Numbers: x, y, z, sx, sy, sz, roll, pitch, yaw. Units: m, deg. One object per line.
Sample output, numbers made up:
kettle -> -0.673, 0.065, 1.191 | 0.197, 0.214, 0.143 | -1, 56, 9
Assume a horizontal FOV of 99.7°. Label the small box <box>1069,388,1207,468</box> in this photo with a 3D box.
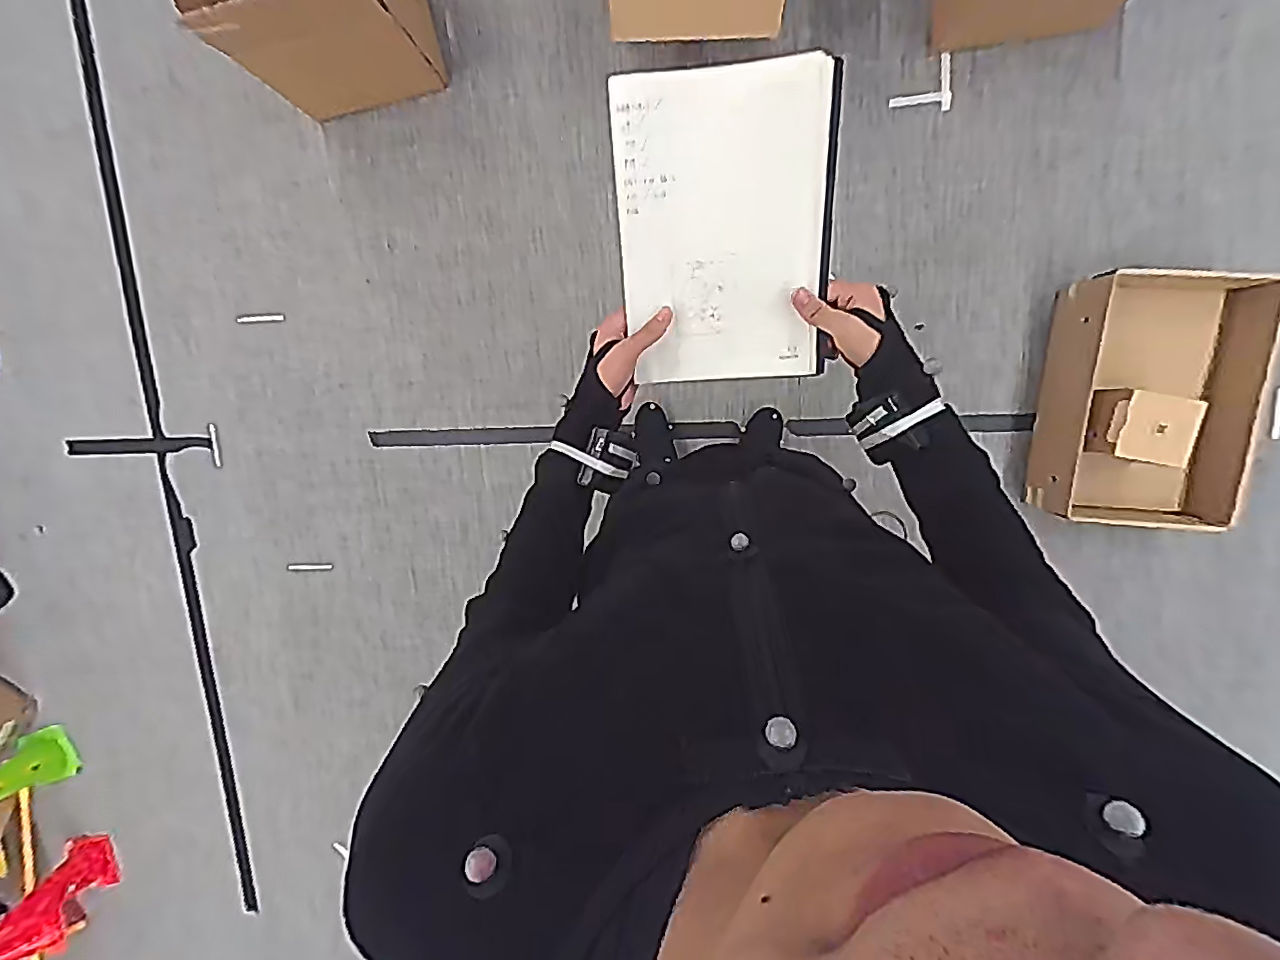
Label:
small box -> 1.253, -0.135, 1.378 | 0.179, 0.176, 0.168 | 12, 100, 3
